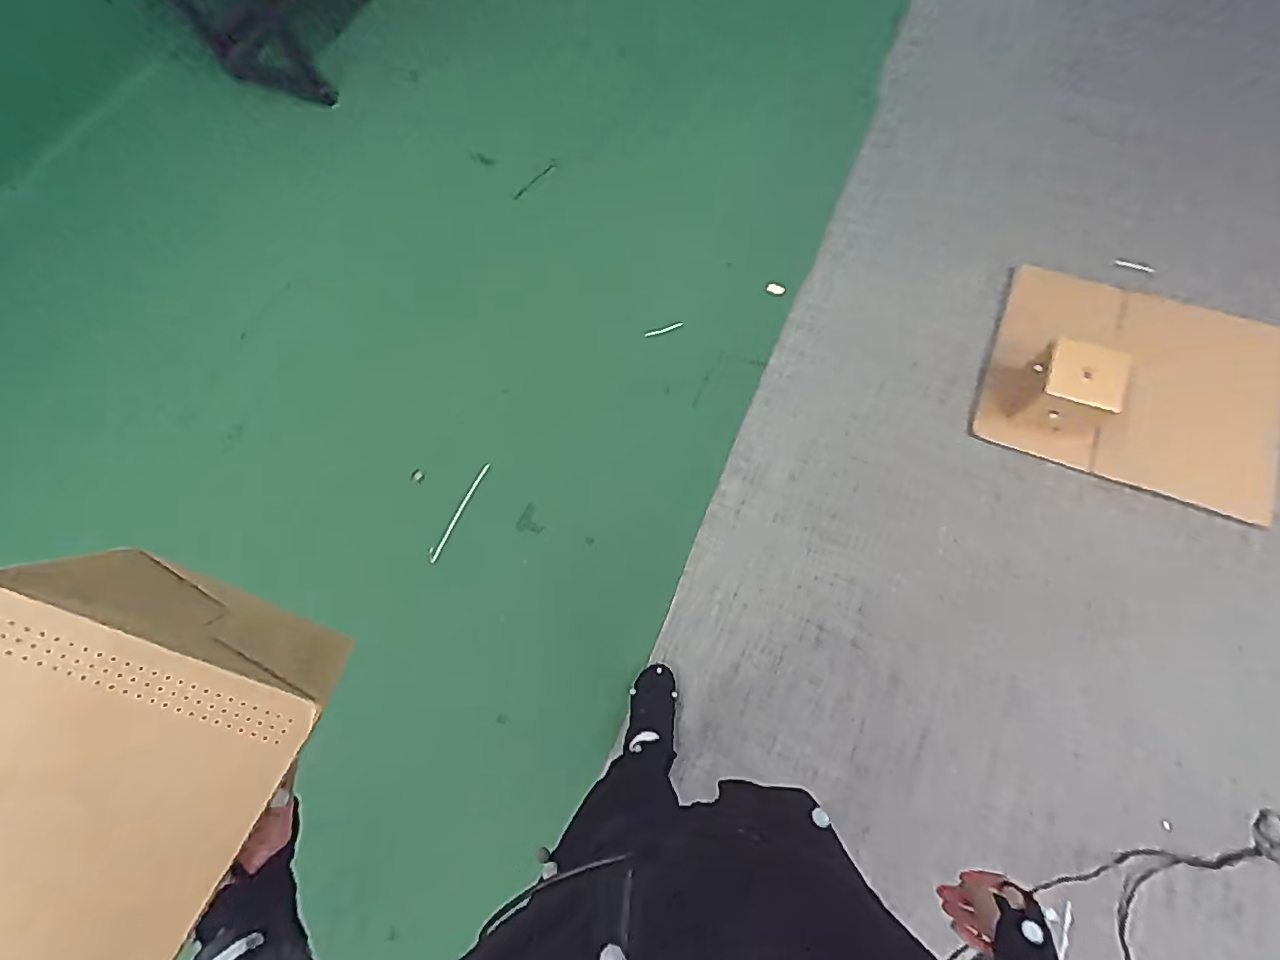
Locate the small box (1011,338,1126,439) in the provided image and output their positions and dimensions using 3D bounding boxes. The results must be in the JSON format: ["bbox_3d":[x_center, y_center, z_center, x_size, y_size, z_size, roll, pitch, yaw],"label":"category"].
[{"bbox_3d":[1.092,-0.229,1.392,0.168,0.176,0.179,19,72,12],"label":"small box"}]
